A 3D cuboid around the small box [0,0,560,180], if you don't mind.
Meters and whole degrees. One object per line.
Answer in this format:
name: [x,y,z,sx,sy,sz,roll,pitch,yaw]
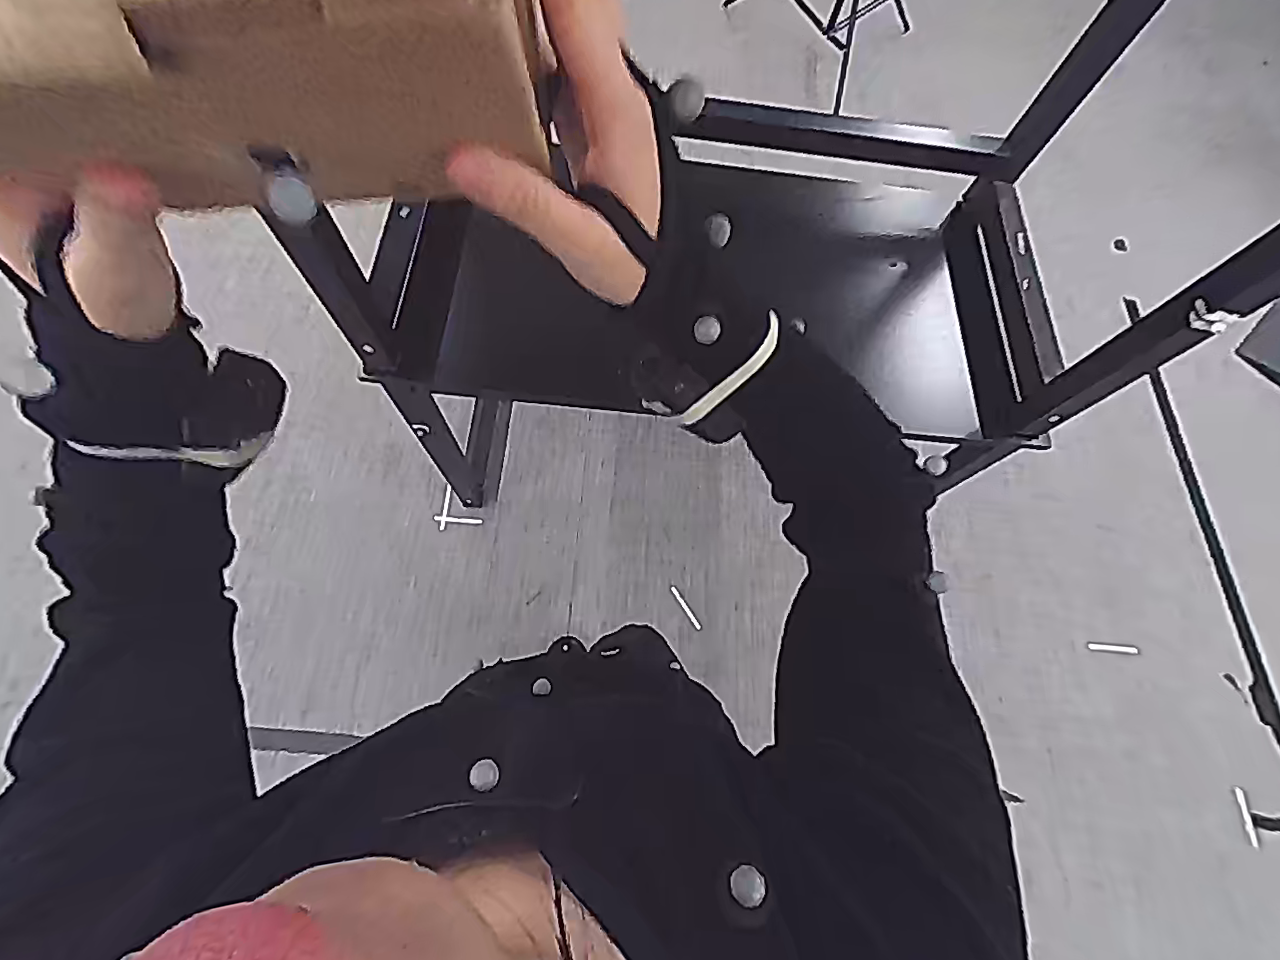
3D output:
small box: [-0.111,-0.179,0.126,0.168,0.176,0.179,-6,110,-5]
